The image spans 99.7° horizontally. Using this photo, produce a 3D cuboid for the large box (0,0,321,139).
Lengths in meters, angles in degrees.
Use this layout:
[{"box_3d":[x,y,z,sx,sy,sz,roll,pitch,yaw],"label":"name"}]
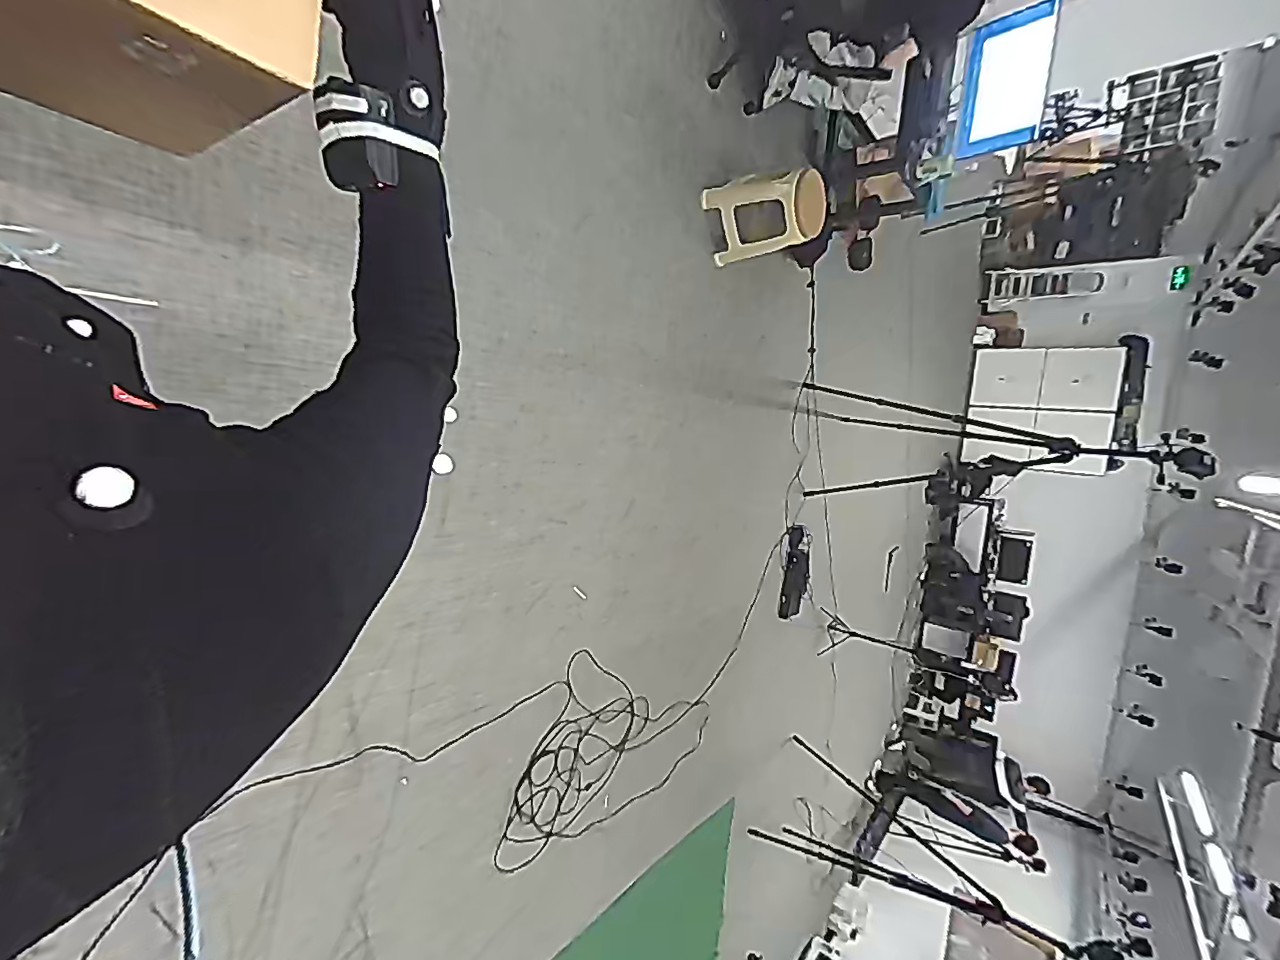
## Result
[{"box_3d":[-0.441,-0.456,0.287,0.408,0.320,0.320,-1,104,-52],"label":"large box"}]
